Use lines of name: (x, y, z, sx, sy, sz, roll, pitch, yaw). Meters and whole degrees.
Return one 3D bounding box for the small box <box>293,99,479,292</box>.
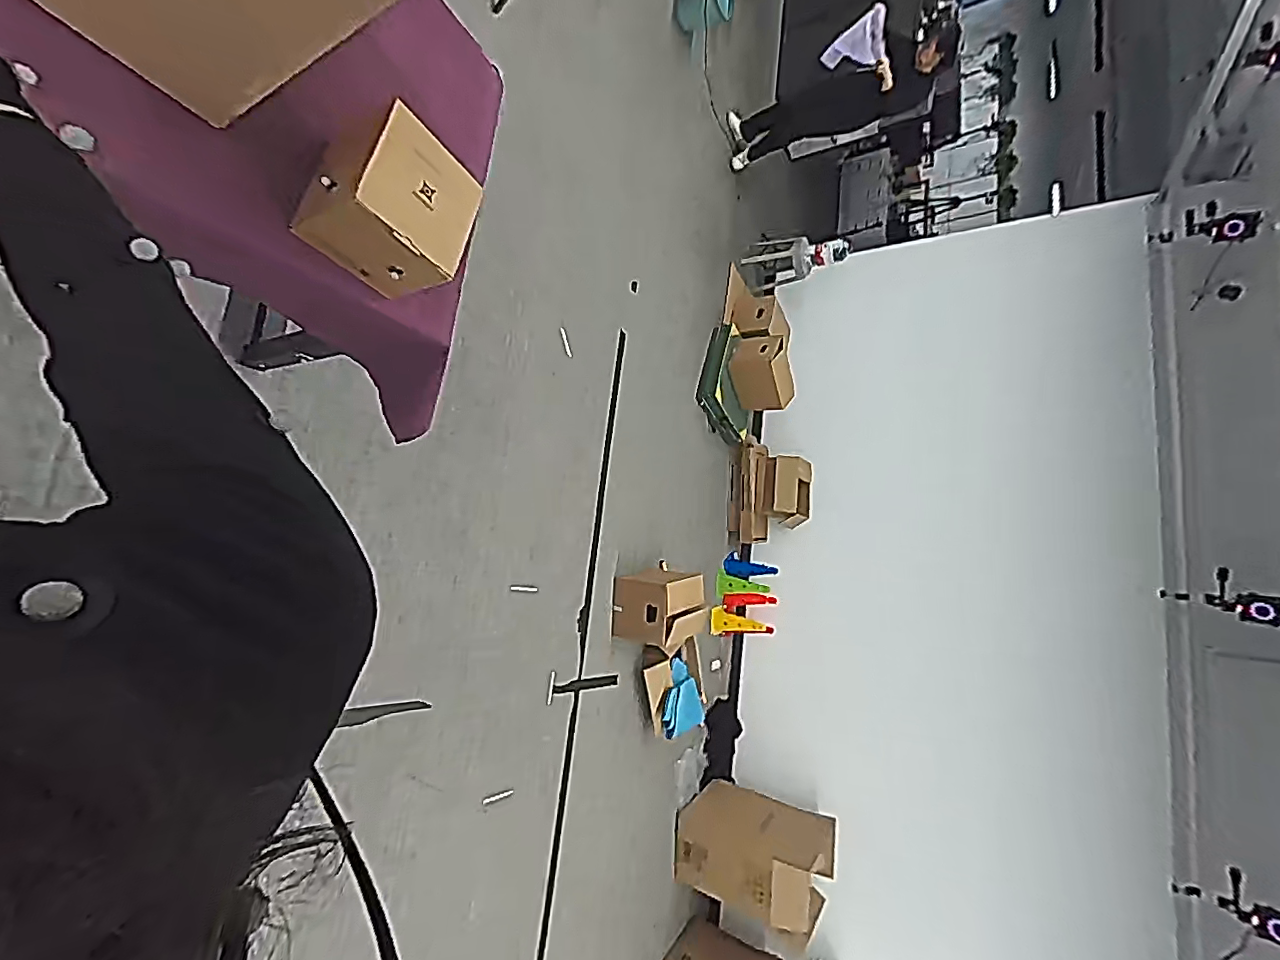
small box: (-0.378, -0.408, 0.809, 0.168, 0.176, 0.179, 36, 59, -54)
